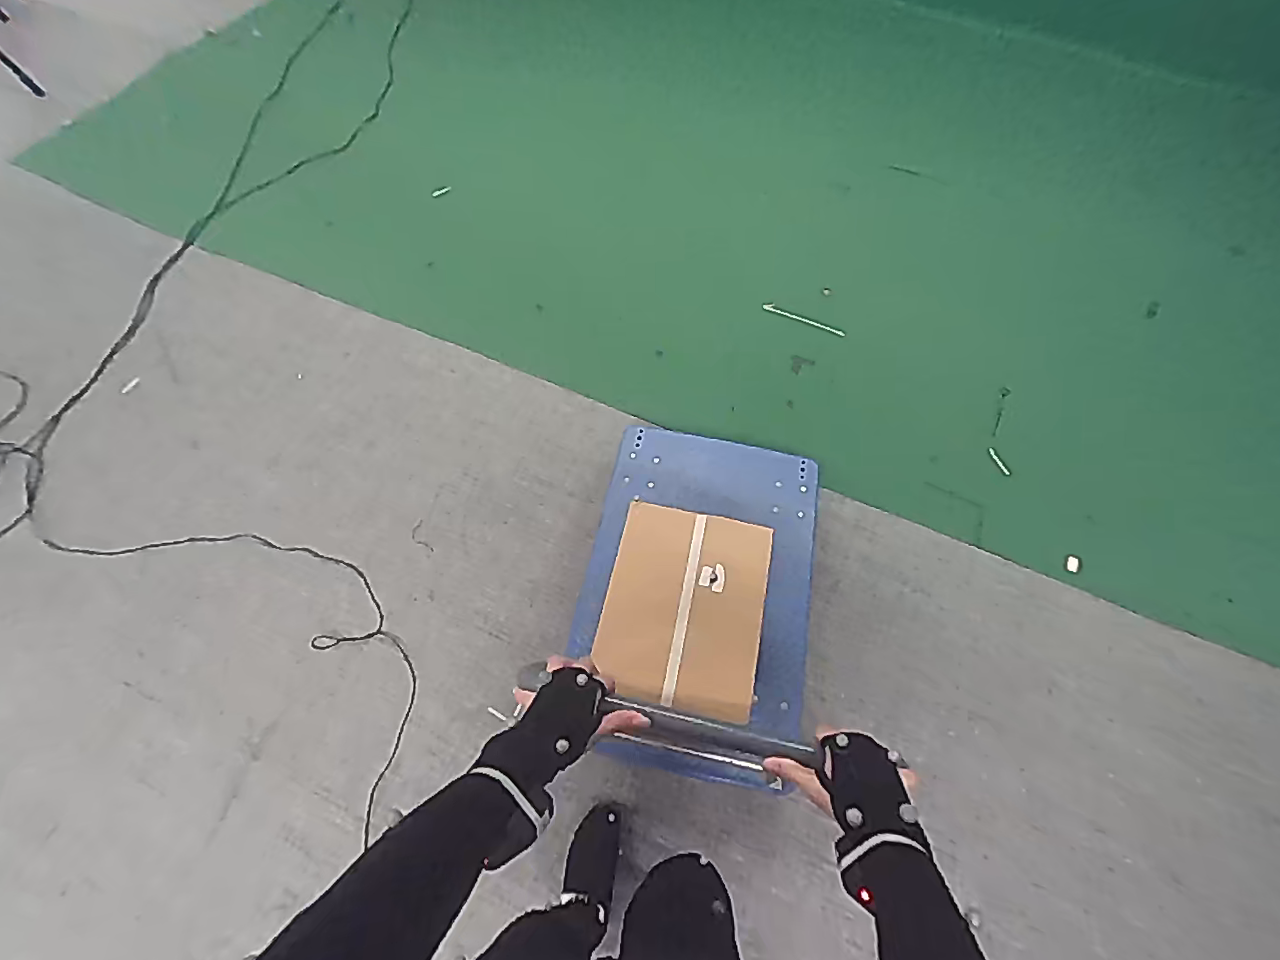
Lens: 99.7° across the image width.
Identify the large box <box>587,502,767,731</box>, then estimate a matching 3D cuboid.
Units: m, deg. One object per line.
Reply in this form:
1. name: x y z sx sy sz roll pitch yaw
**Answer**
1. large box: 0.086 0.315 1.217 0.320 0.320 0.408 11 63 5
